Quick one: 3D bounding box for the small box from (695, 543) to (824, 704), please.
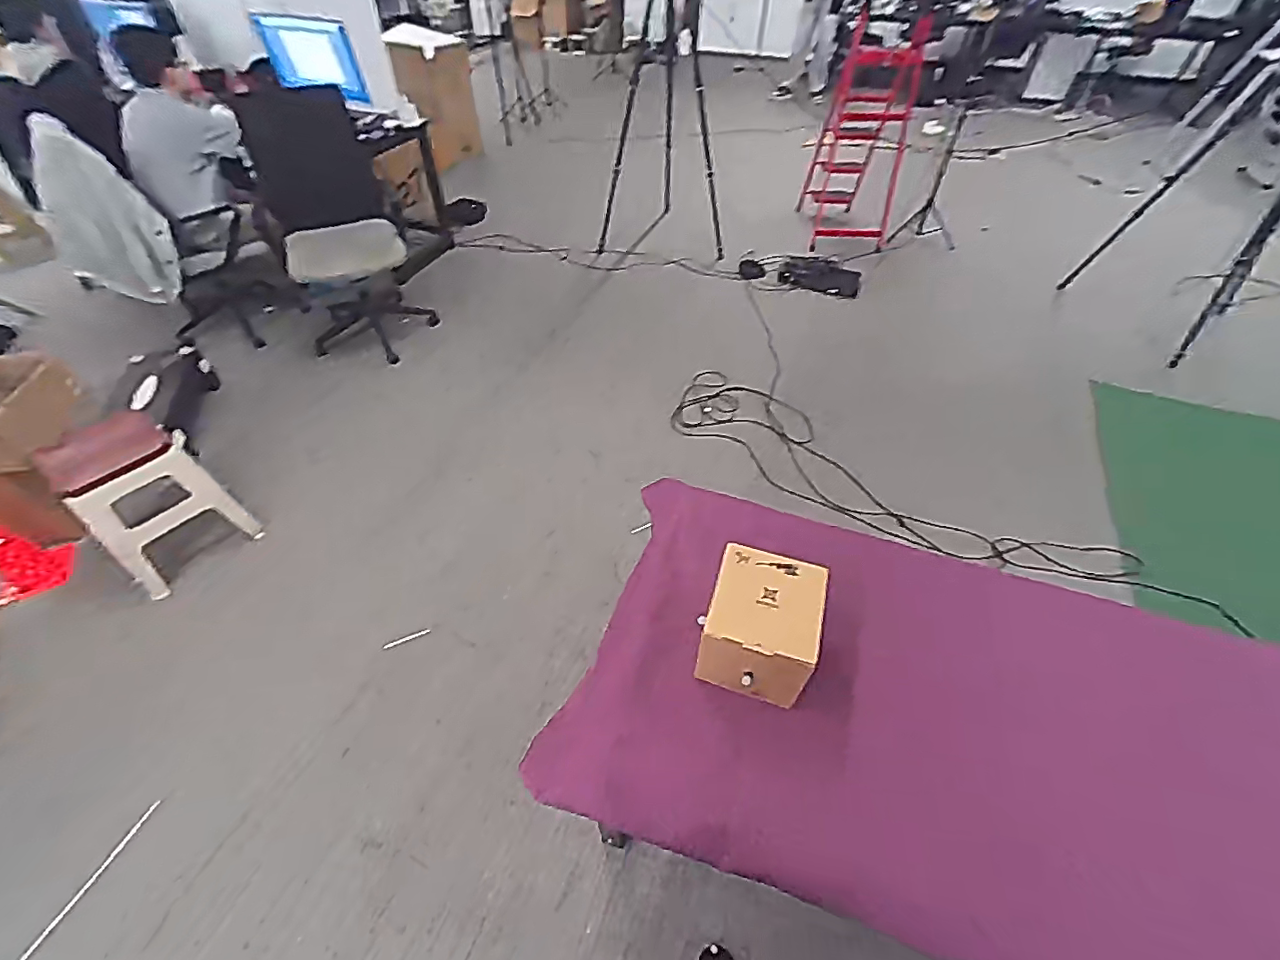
[{"bbox_3d":[0.191,0.238,0.886,0.168,0.176,0.179,14,49,12],"label":"small box"}]
